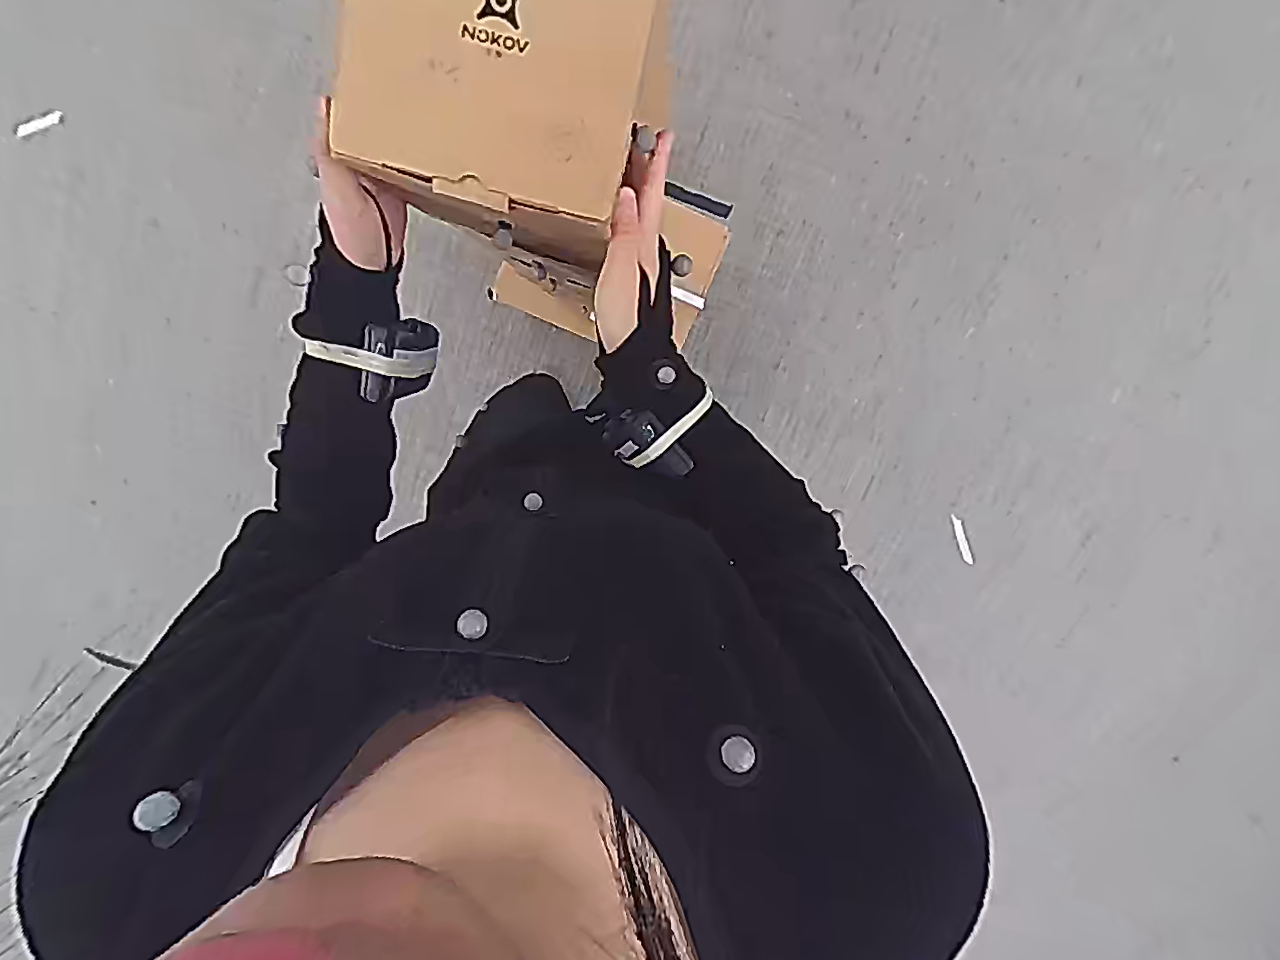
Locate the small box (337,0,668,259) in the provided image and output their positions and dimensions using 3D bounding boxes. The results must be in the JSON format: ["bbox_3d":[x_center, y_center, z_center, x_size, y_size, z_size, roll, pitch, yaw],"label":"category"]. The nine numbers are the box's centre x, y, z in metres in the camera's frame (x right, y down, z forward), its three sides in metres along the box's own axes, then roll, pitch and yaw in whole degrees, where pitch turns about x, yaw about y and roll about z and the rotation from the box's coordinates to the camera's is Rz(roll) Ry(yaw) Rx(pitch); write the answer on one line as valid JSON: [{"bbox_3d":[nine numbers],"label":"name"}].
[{"bbox_3d":[-0.076,-0.265,0.371,0.168,0.176,0.179,13,104,-4],"label":"small box"}]

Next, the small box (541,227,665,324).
[{"bbox_3d":[-0.065,-0.399,1.015,0.179,0.176,0.168,20,103,-5],"label":"small box"}]

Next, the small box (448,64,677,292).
[{"bbox_3d":[-0.074,-0.303,0.533,0.168,0.176,0.179,19,104,-3],"label":"small box"}]

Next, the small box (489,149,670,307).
[{"bbox_3d":[-0.073,-0.338,0.694,0.168,0.176,0.179,20,103,-4],"label":"small box"}]
